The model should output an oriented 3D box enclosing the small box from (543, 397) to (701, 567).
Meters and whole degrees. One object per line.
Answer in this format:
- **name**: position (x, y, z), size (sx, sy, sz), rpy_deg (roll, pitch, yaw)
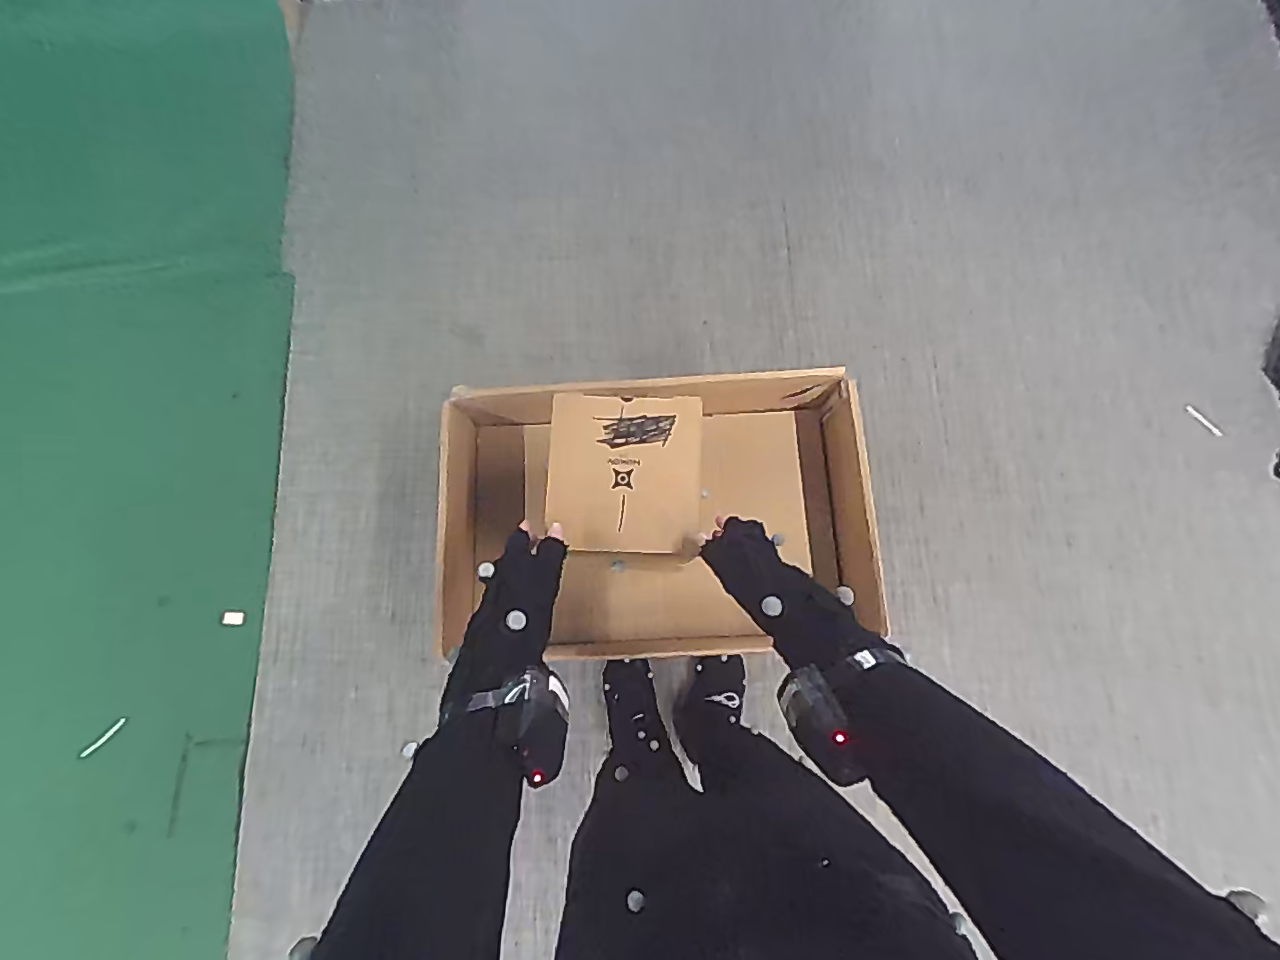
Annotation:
- **small box**: position (-0.017, 0.011, 0.664), size (0.168, 0.176, 0.179), rpy_deg (2, 78, 2)
